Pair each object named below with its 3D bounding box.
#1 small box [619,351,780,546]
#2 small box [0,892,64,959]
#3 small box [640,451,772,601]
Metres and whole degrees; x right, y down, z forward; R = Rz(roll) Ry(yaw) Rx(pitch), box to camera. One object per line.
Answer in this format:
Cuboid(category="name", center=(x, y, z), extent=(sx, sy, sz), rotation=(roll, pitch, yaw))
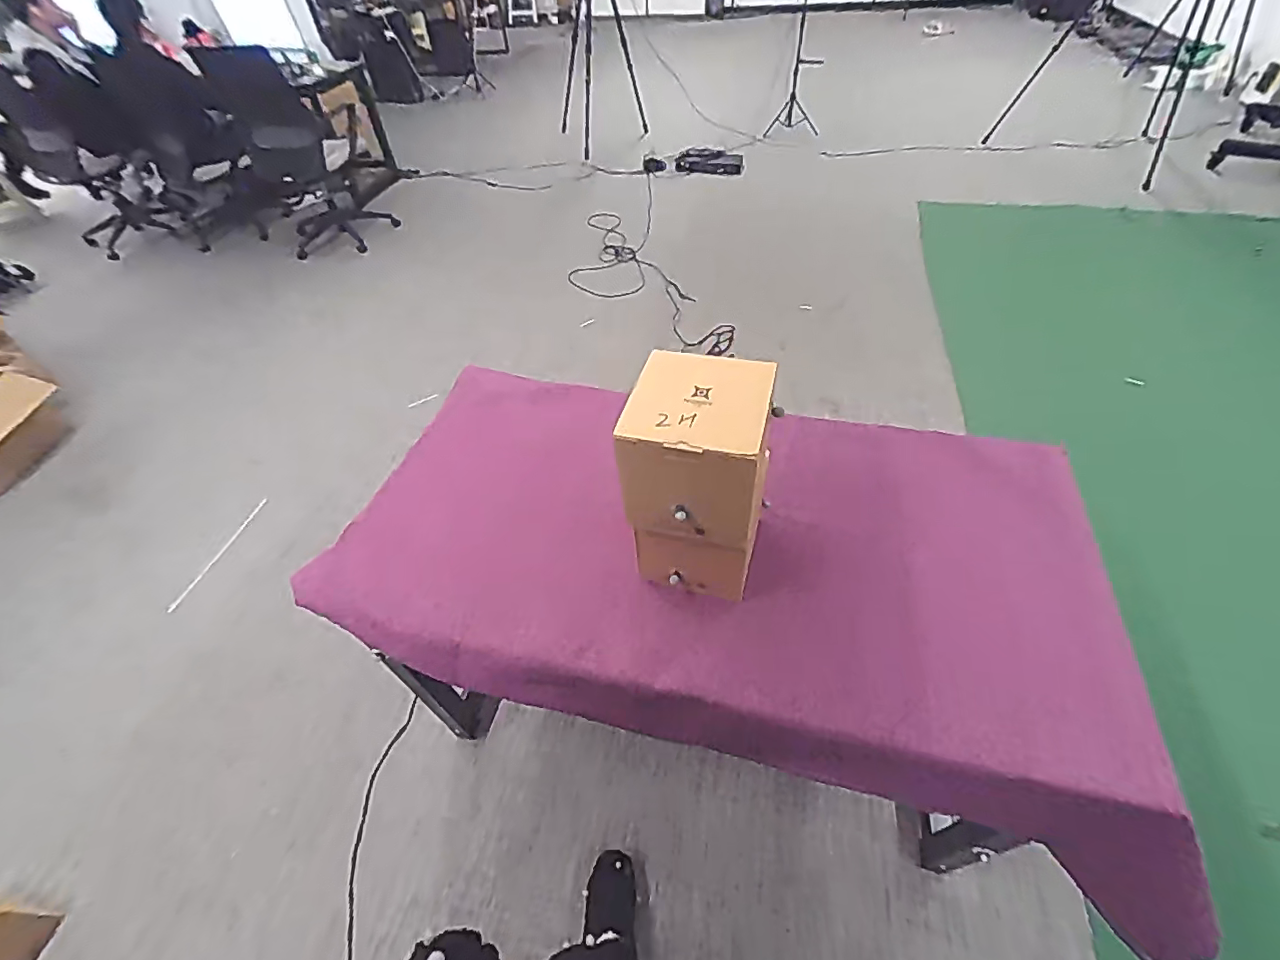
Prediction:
Cuboid(category="small box", center=(0.080, -0.043, 0.709), extent=(0.168, 0.176, 0.179), rotation=(10, 49, 15))
Cuboid(category="small box", center=(-1.375, 0.960, 1.108), extent=(0.179, 0.176, 0.168), rotation=(6, 48, 11))
Cuboid(category="small box", center=(0.099, 0.057, 0.839), extent=(0.168, 0.176, 0.179), rotation=(11, 50, 15))
